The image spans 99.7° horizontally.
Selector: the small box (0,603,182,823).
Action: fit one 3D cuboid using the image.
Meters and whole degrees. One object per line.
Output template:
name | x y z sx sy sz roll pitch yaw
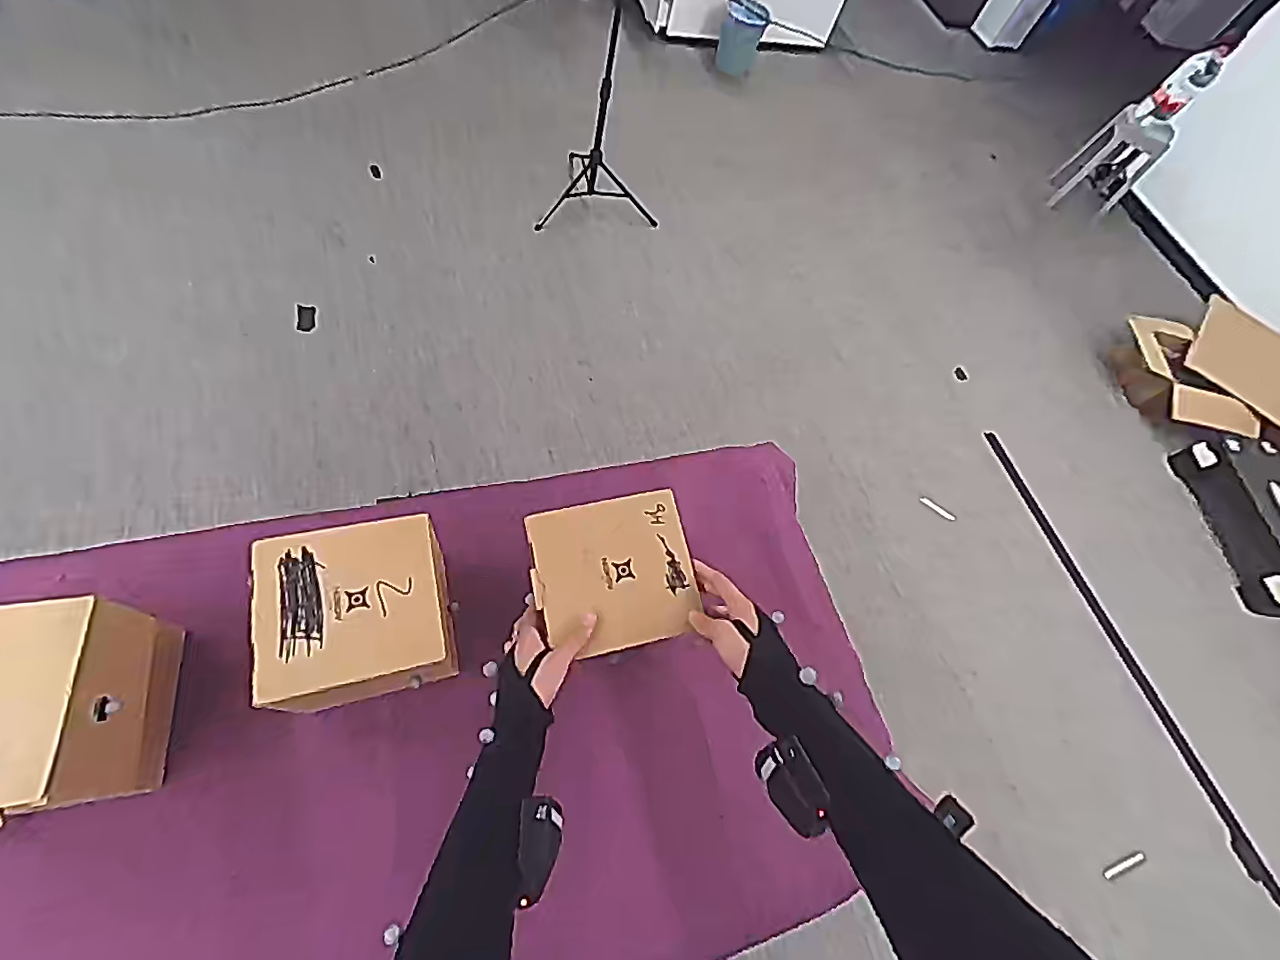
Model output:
small box | -0.591 0.231 0.524 0.168 0.176 0.179 -4 65 -16
